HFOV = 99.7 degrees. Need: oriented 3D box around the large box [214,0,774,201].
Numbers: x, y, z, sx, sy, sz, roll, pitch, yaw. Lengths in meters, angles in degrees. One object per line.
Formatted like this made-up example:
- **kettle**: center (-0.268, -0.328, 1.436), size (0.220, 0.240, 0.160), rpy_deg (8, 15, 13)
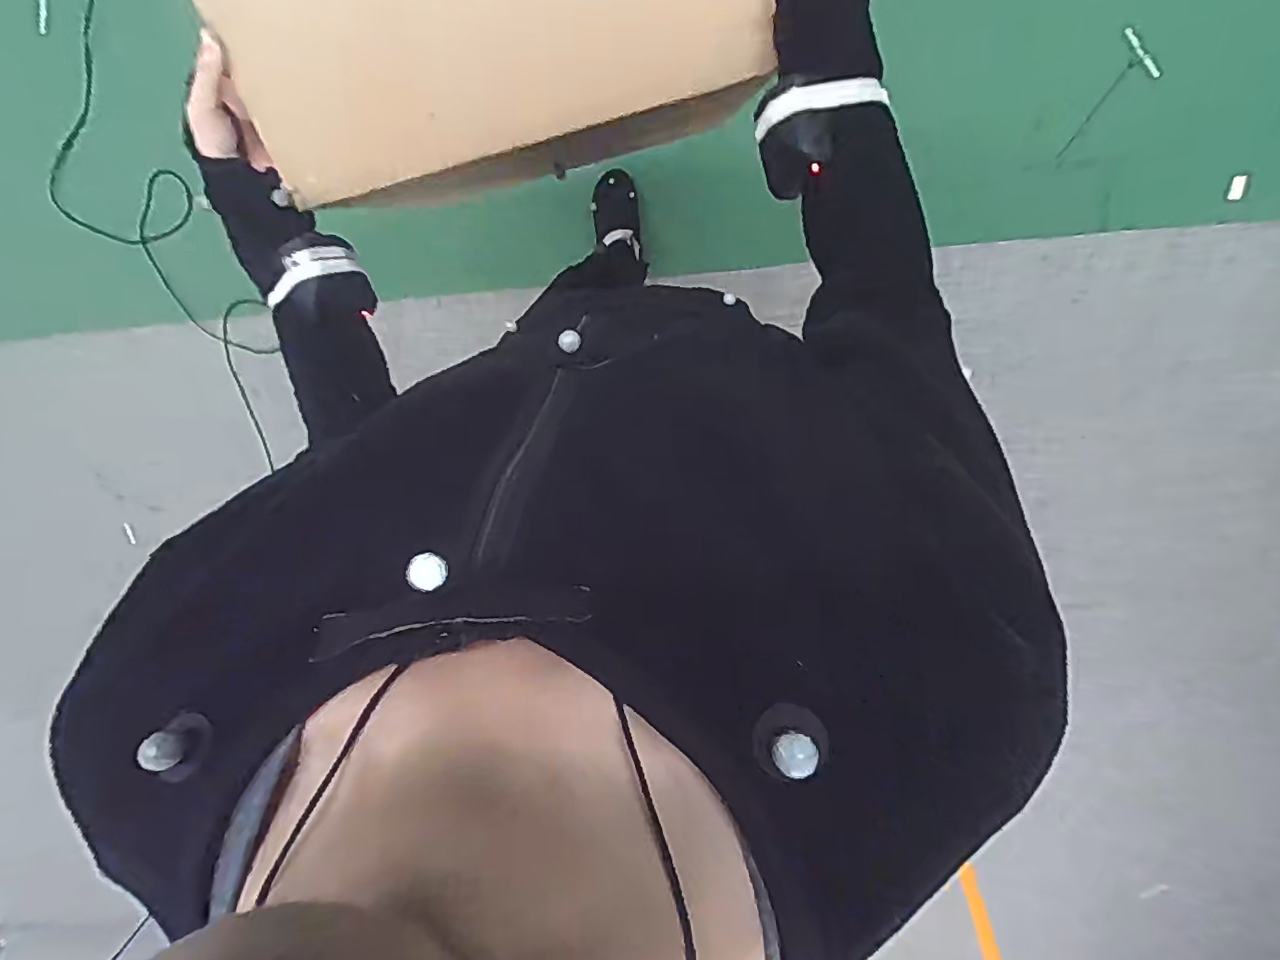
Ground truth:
- **large box**: center (-0.124, -0.481, 0.500), size (0.408, 0.320, 0.320), rpy_deg (-12, 116, 6)
